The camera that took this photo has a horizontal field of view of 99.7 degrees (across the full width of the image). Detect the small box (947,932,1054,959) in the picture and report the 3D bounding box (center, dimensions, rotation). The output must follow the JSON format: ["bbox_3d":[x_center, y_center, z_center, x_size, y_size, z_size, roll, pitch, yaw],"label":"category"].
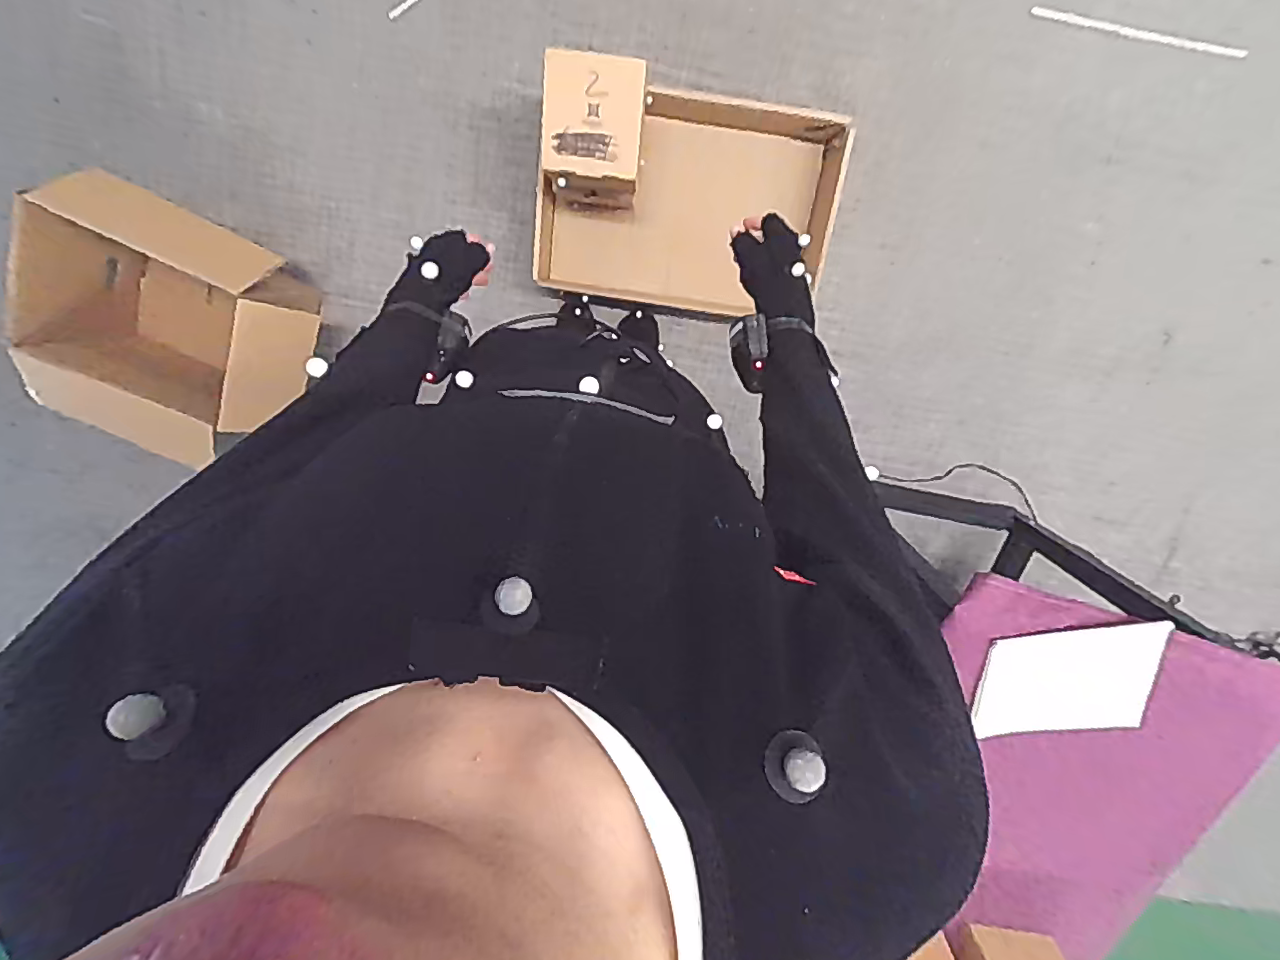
[{"bbox_3d":[0.689,0.978,0.991,0.179,0.176,0.168,12,109,-4],"label":"small box"}]
